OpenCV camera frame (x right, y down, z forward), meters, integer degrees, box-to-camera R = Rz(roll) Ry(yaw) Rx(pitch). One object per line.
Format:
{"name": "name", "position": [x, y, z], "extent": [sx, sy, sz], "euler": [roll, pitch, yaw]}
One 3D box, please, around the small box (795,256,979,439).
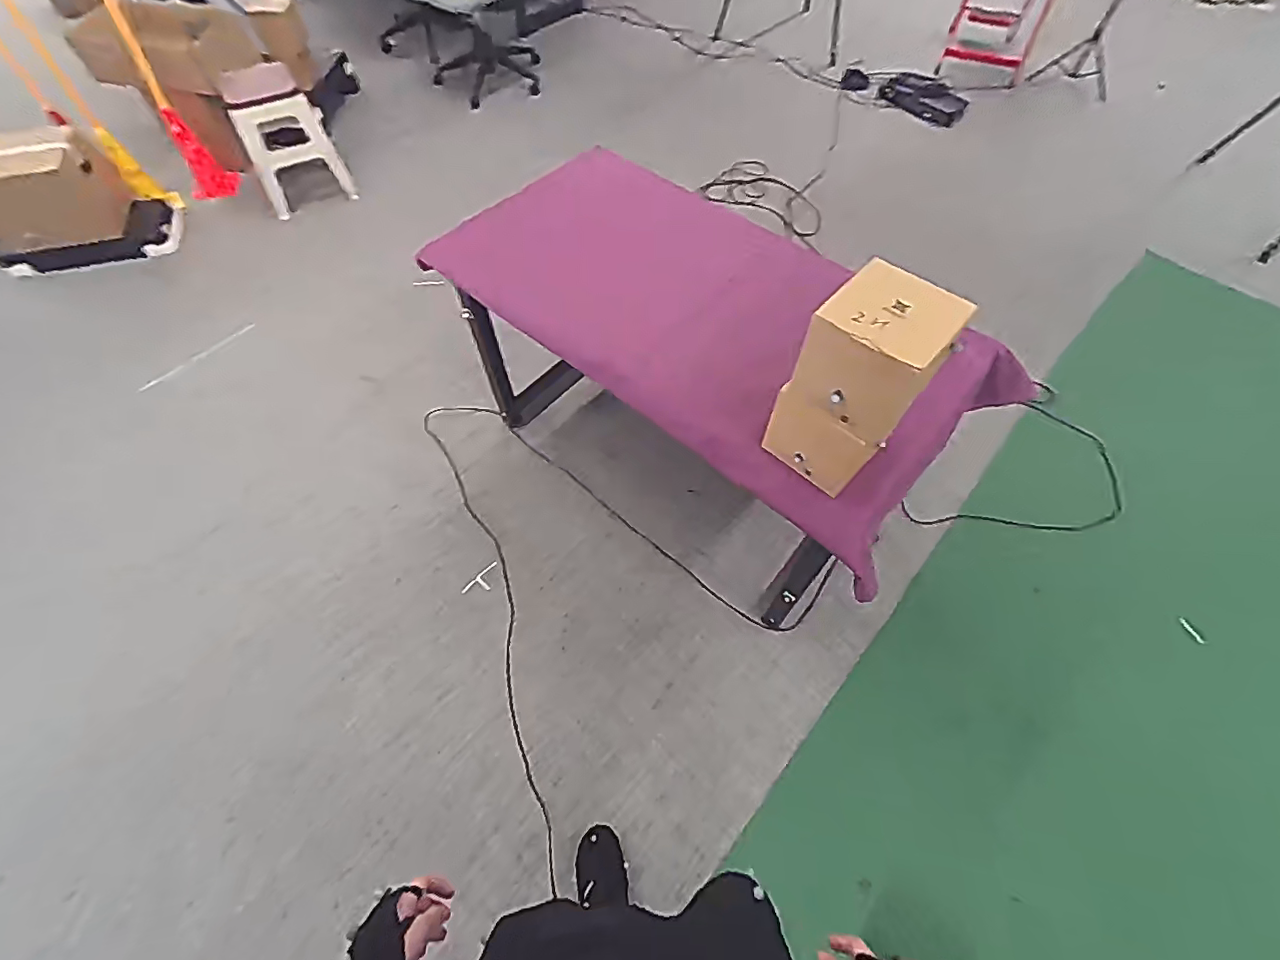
{"name": "small box", "position": [0.362, -0.198, 0.825], "extent": [0.168, 0.176, 0.179], "euler": [38, 66, 22]}
